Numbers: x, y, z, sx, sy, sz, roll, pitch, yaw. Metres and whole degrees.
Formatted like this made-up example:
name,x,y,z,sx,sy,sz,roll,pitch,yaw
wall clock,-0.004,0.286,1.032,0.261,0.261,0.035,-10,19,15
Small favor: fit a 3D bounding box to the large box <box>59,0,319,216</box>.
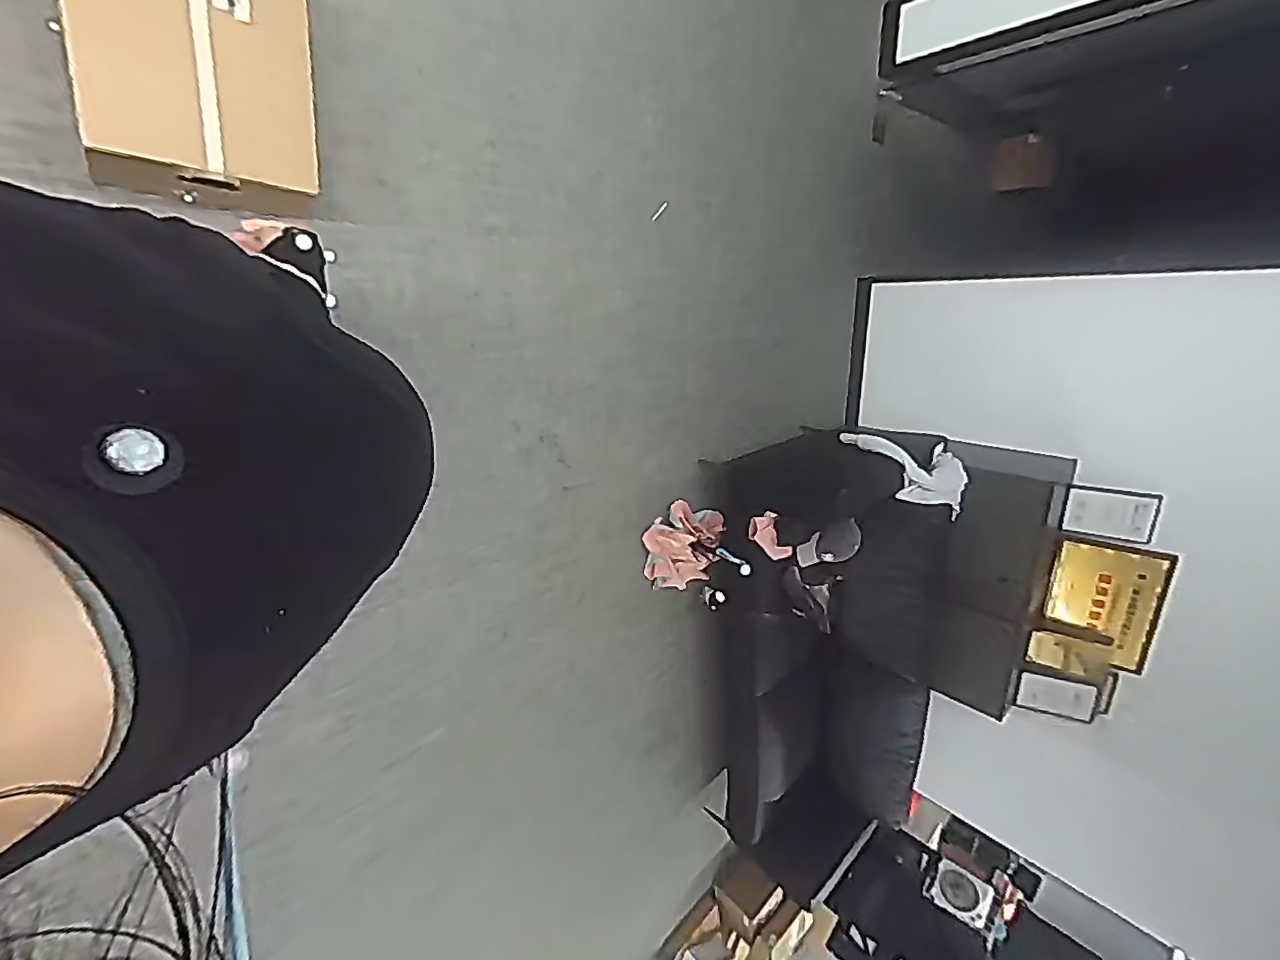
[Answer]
name,x,y,z,sx,sy,sz,roll,pitch,yaw
large box,-0.800,-0.735,0.968,0.320,0.320,0.408,-9,108,-42
